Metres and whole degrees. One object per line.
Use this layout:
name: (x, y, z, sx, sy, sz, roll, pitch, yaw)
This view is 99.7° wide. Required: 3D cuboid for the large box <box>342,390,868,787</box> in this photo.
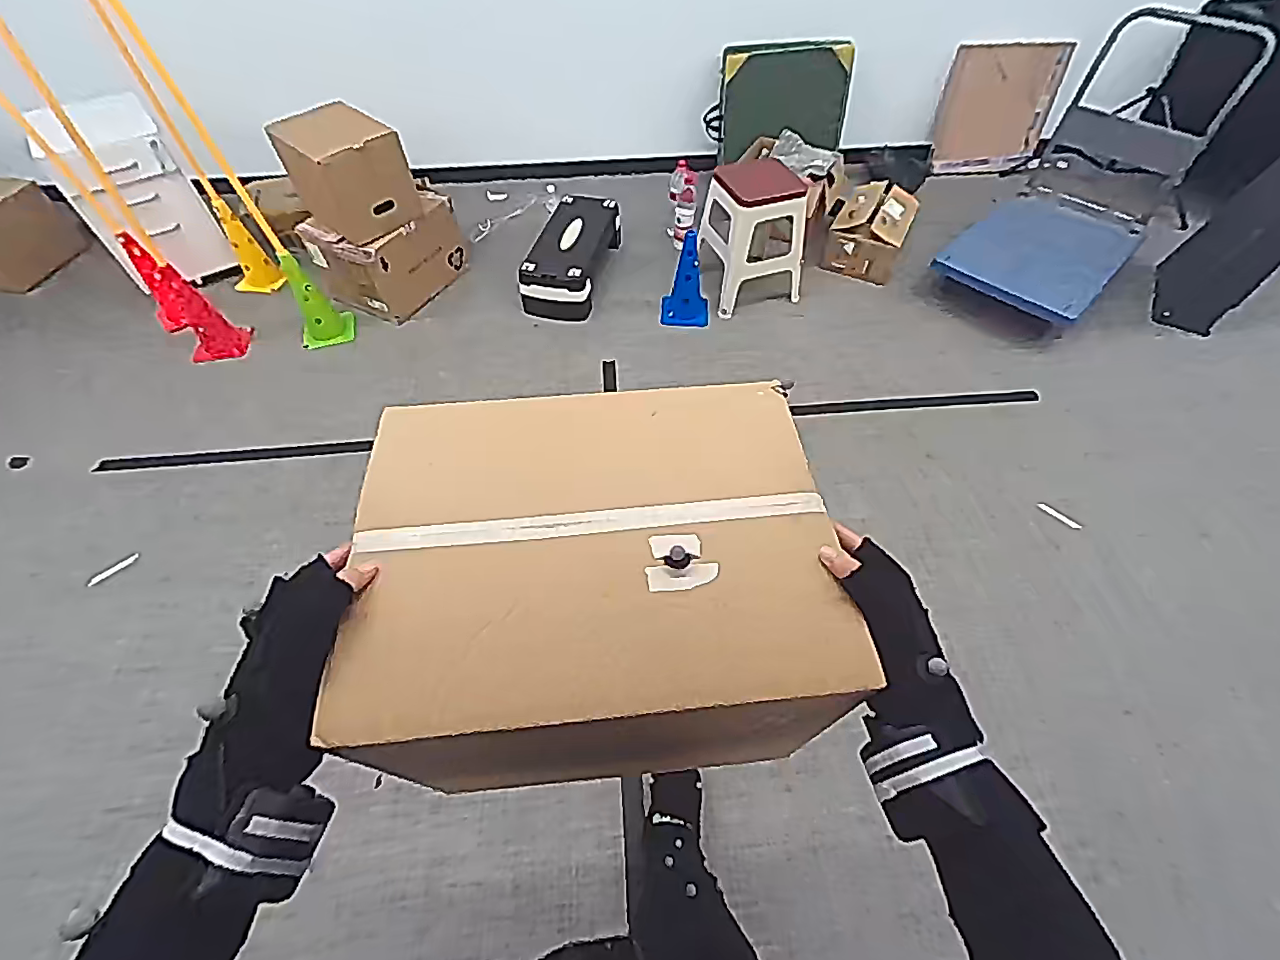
large box: (-0.038, 0.128, 0.606, 0.408, 0.320, 0.320, -4, 55, -4)
